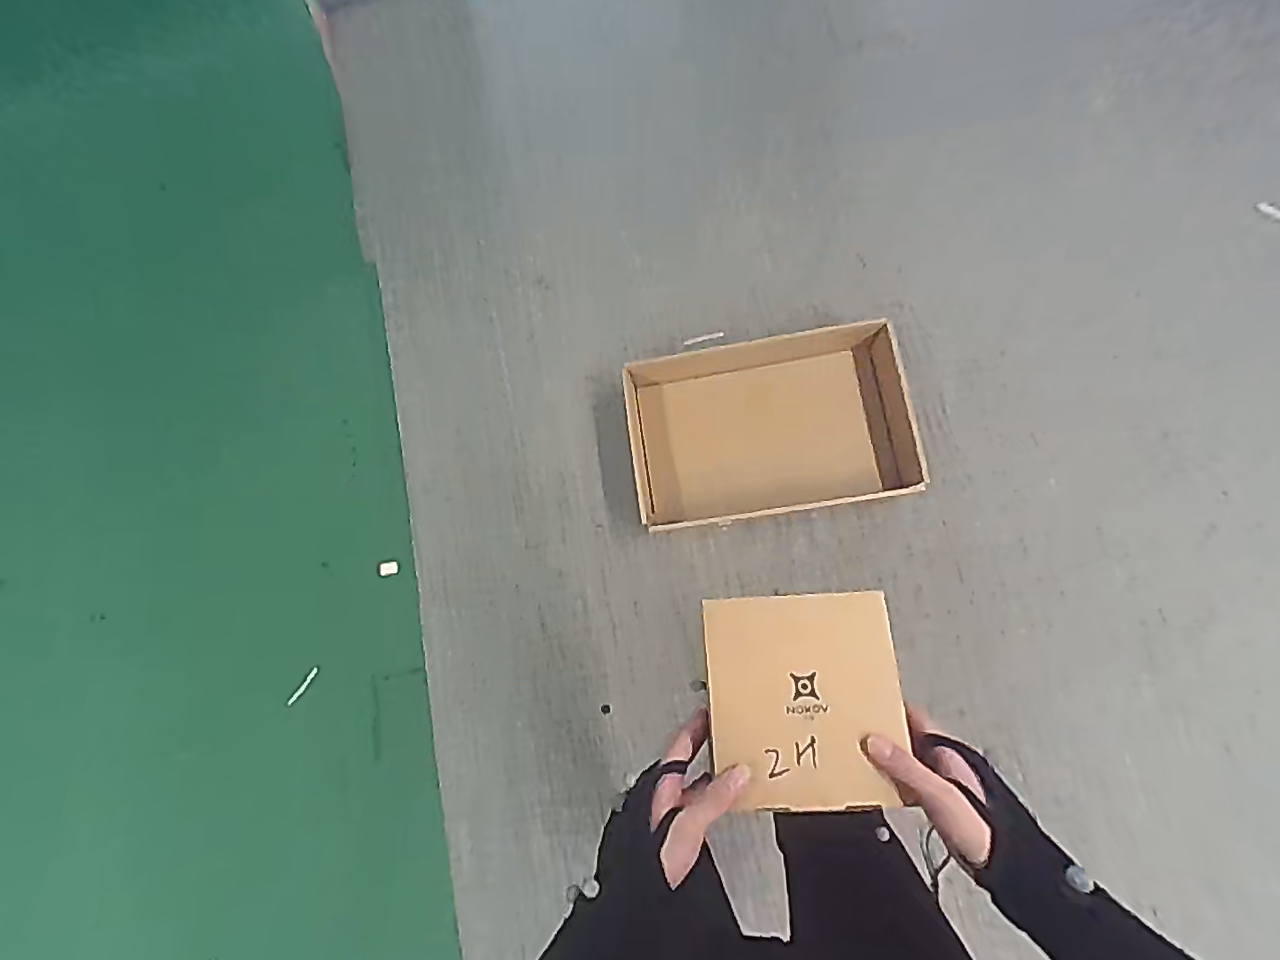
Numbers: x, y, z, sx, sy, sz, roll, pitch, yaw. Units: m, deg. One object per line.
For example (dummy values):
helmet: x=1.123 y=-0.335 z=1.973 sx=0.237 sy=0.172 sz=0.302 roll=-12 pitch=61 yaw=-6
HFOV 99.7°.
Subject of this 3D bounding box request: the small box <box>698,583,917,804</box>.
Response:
small box: x=0.147 y=0.205 z=0.542 sx=0.168 sy=0.176 sz=0.179 roll=-4 pitch=73 yaw=4
